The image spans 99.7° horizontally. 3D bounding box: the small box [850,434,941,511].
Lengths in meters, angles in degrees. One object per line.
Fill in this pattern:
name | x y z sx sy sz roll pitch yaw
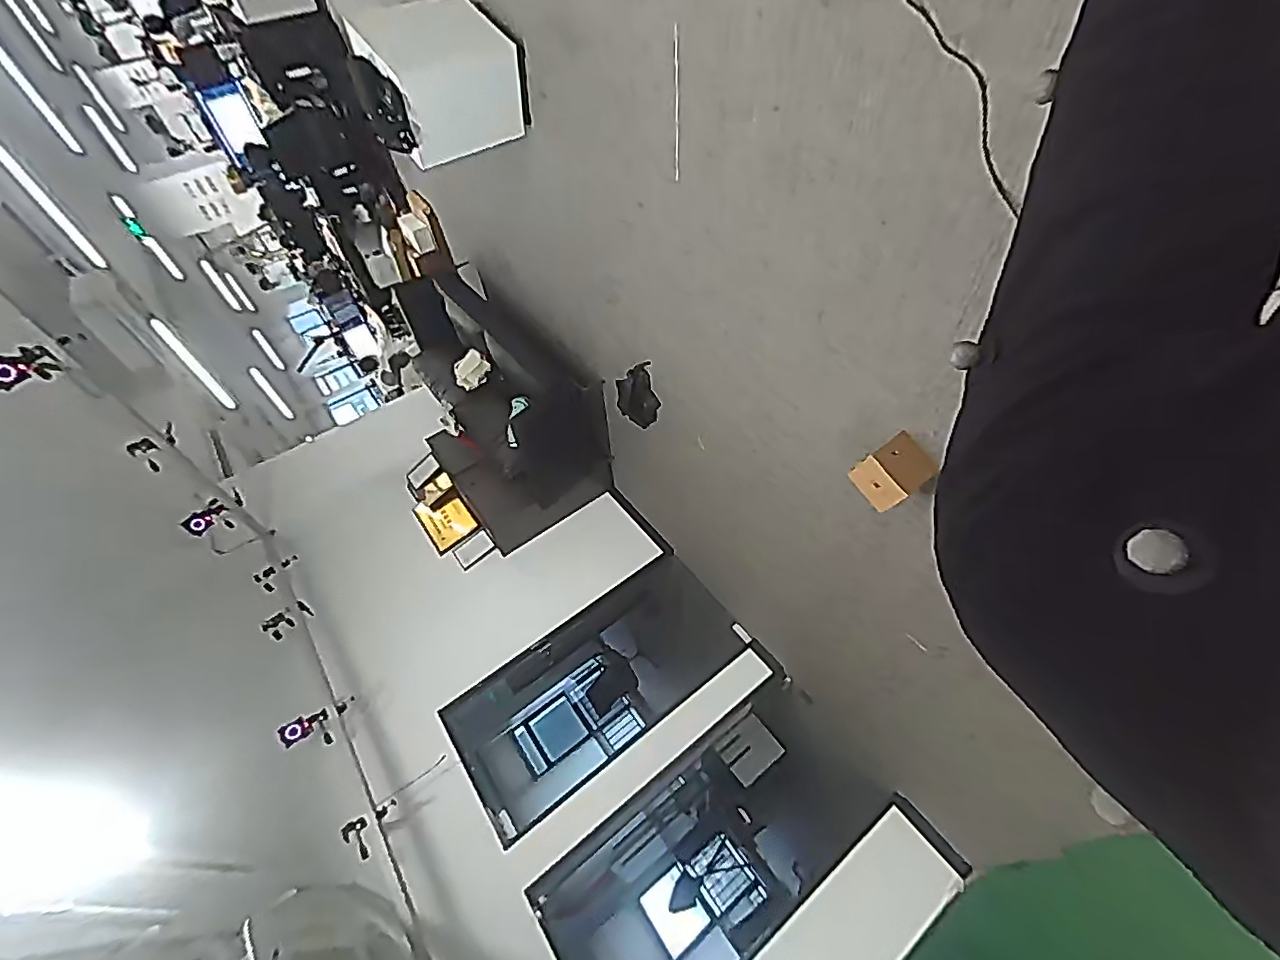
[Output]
small box | 0.847 -0.032 1.799 0.179 0.176 0.168 52 160 15
